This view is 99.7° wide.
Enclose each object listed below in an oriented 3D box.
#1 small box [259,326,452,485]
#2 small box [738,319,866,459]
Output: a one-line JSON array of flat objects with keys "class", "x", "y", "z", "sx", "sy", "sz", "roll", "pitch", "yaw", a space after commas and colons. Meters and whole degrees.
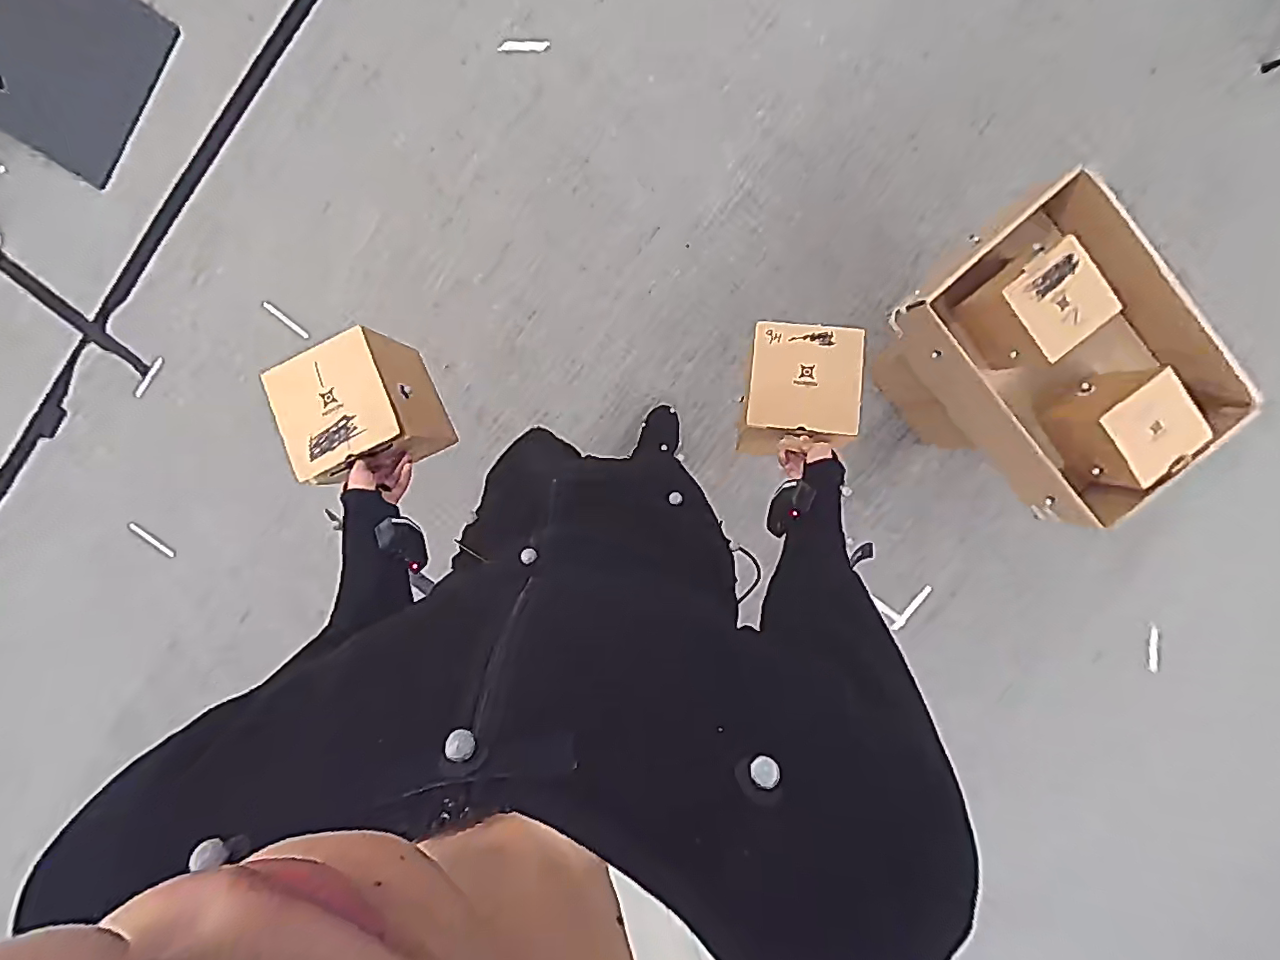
[{"class": "small box", "x": -0.420, "y": -0.105, "z": 0.830, "sx": 0.168, "sy": 0.176, "sz": 0.179, "roll": -25, "pitch": 88, "yaw": 4}, {"class": "small box", "x": 0.257, "y": -0.140, "z": 0.890, "sx": 0.168, "sy": 0.176, "sz": 0.179, "roll": 7, "pitch": 80, "yaw": 7}]
